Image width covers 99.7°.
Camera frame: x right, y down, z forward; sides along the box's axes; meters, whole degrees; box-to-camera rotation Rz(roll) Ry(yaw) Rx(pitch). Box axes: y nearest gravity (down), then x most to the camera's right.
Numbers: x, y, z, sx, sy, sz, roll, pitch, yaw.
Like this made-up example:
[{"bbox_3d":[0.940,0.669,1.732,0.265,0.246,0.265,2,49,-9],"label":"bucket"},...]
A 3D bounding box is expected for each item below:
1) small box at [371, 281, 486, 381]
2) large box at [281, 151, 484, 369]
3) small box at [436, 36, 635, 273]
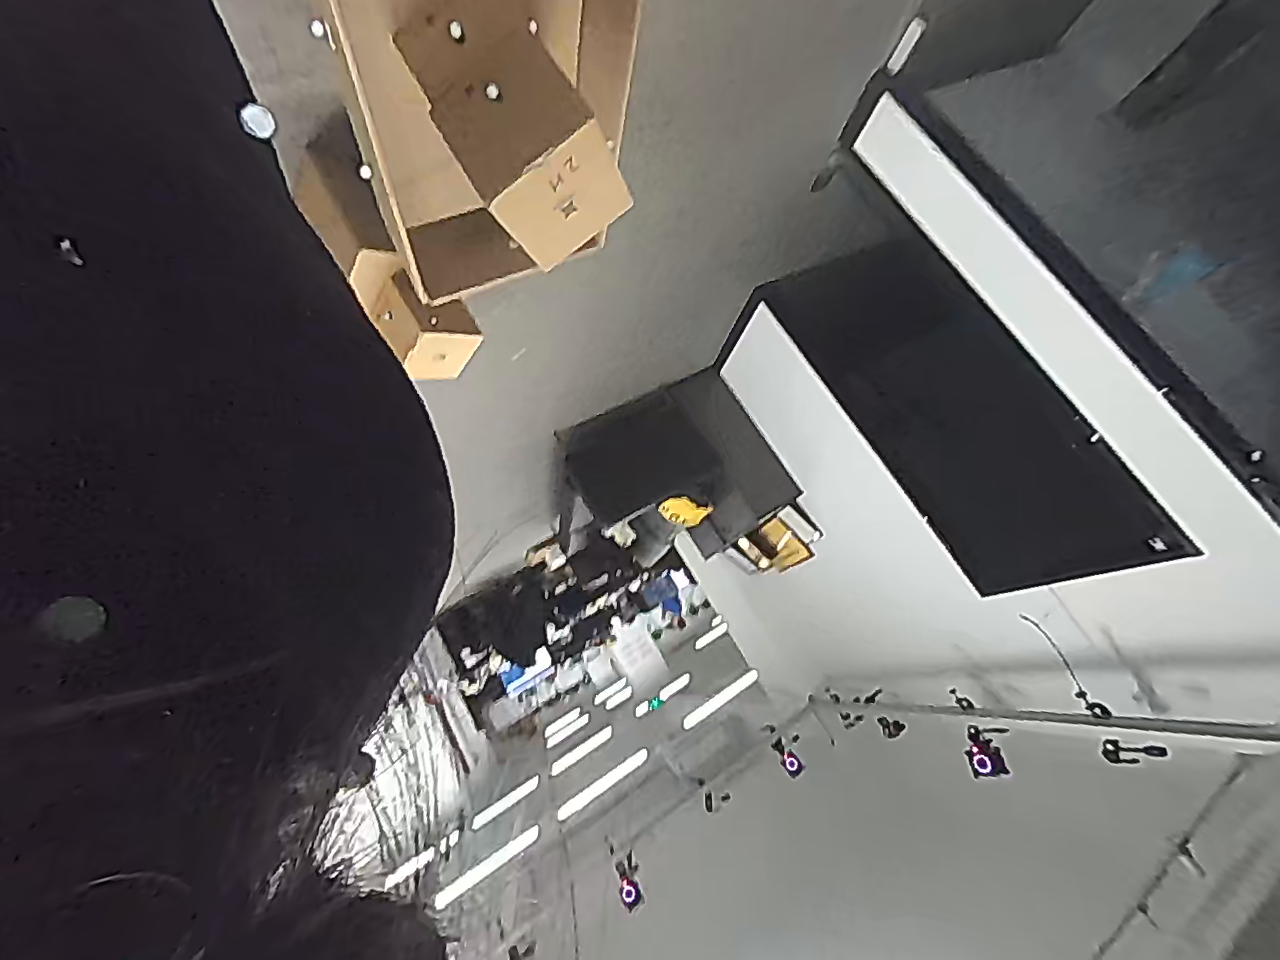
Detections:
[{"bbox_3d":[-0.519,-0.361,1.322,0.168,0.176,0.179,-40,166,35],"label":"small box"},{"bbox_3d":[-0.674,-0.540,1.395,0.320,0.320,0.408,-16,162,-48],"label":"large box"},{"bbox_3d":[-0.134,-0.427,0.729,0.168,0.176,0.179,-34,166,9],"label":"small box"}]
